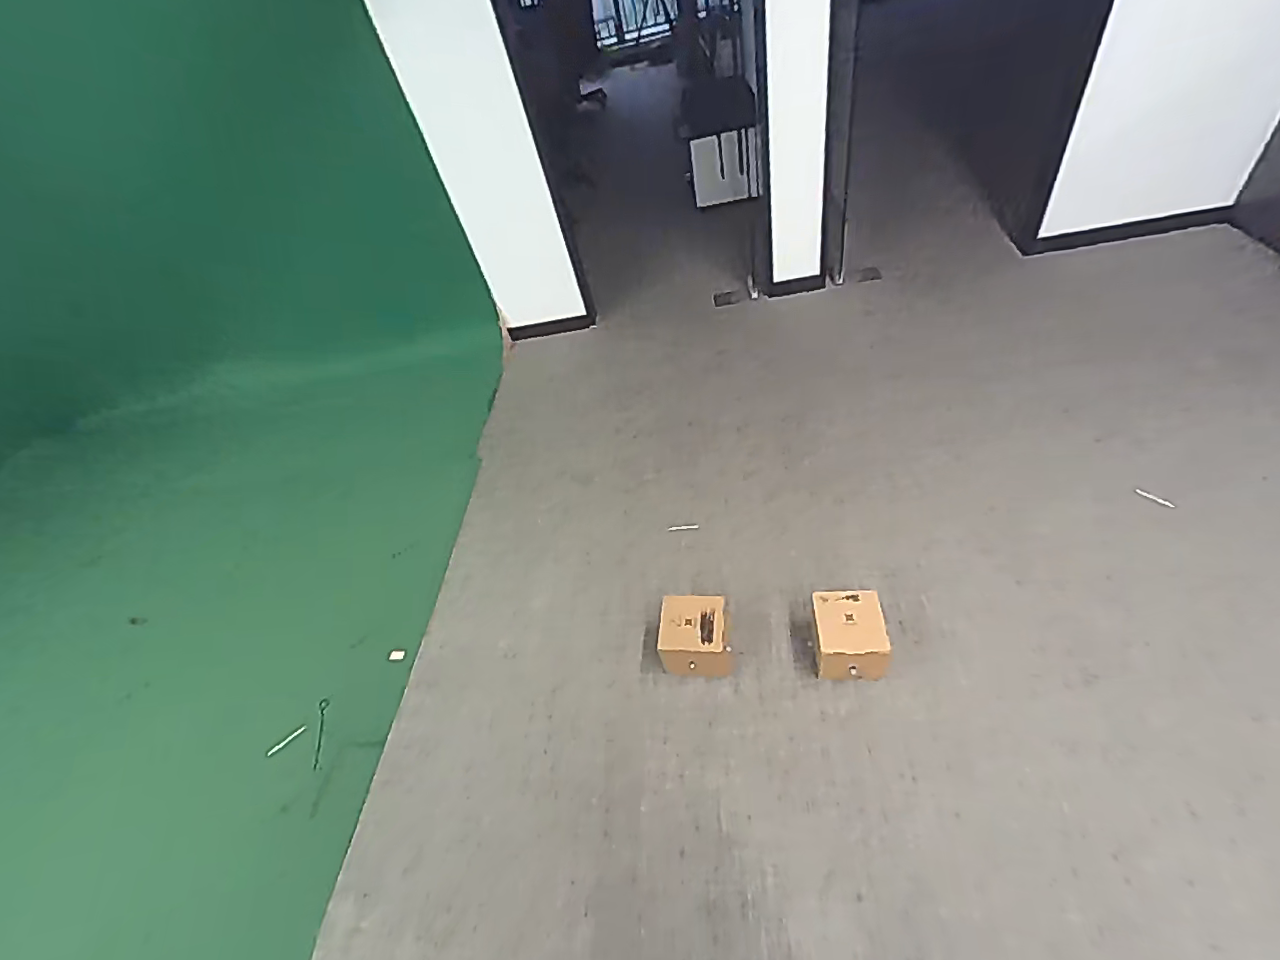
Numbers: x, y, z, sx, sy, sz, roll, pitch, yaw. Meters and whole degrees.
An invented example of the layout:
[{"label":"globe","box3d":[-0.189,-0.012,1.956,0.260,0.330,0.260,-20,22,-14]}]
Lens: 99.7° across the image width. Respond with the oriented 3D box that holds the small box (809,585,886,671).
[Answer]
[{"label":"small box","box3d":[0.547,0.400,1.445,0.168,0.176,0.179,-4,48,12]}]
